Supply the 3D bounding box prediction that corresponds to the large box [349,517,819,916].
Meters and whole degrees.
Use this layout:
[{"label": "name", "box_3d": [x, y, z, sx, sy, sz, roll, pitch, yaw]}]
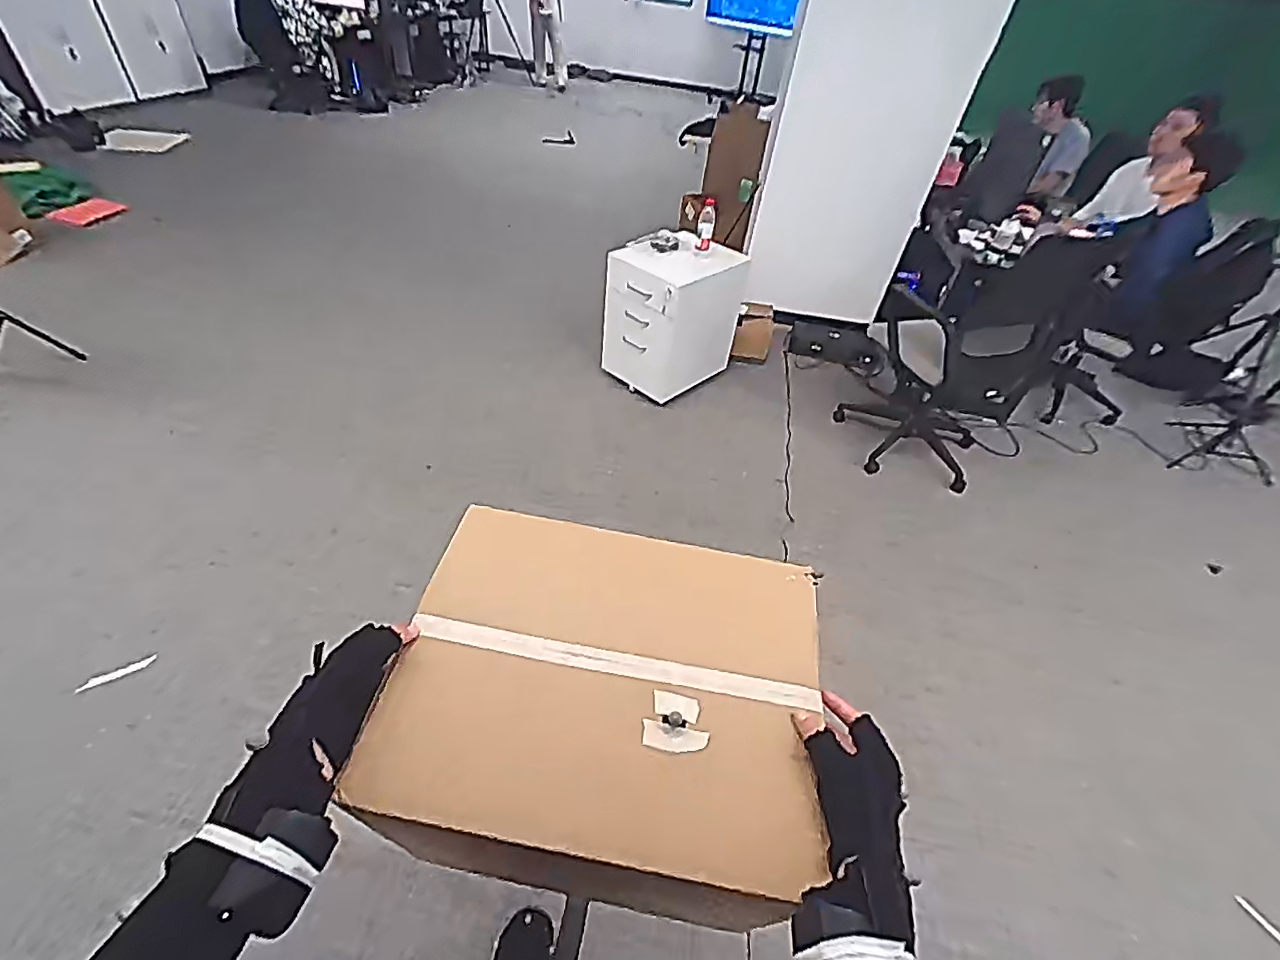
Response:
[{"label": "large box", "box_3d": [-0.042, 0.285, 0.651, 0.408, 0.320, 0.320, 10, 48, 3]}]
